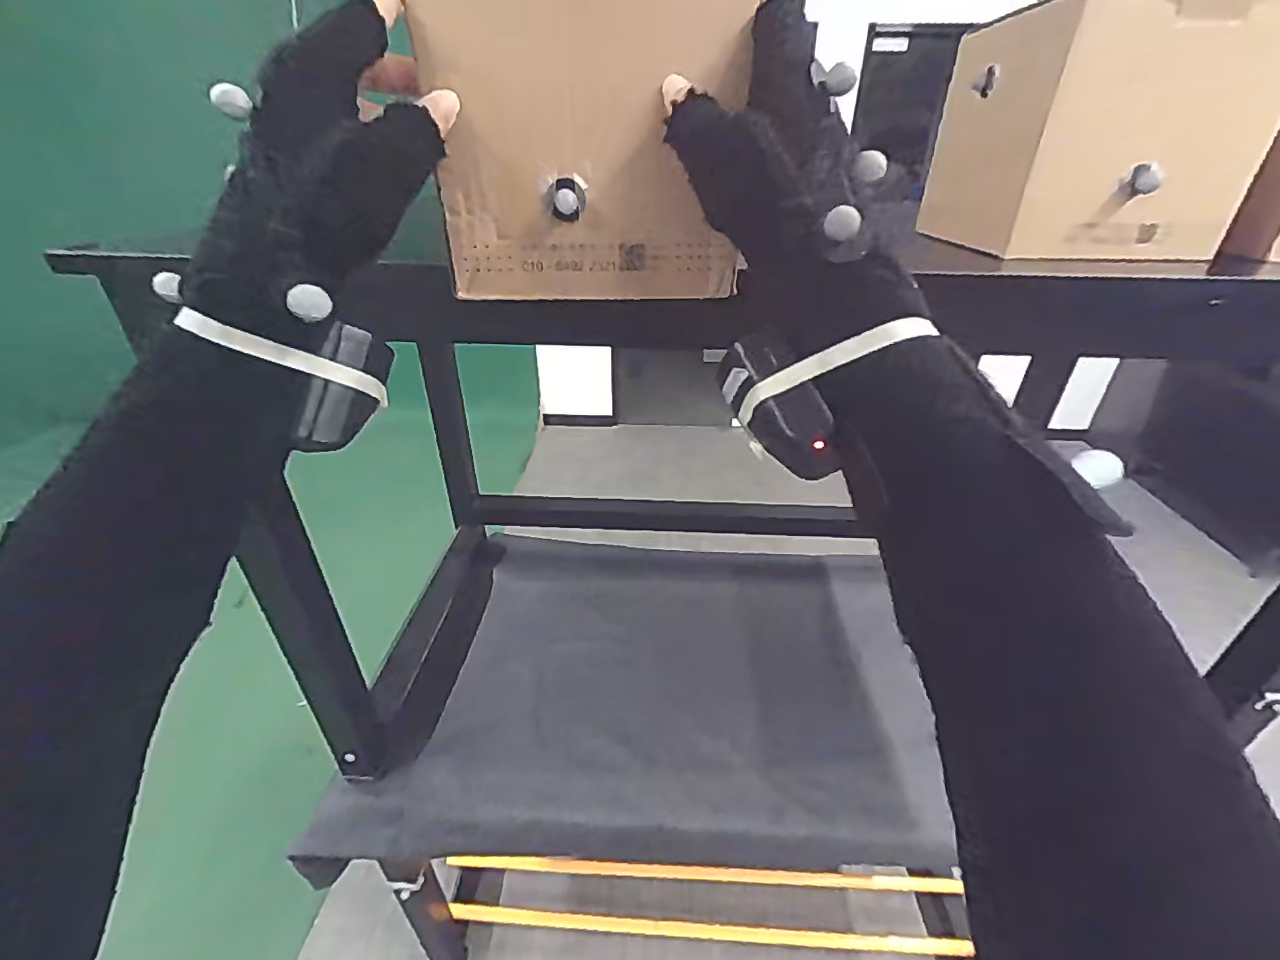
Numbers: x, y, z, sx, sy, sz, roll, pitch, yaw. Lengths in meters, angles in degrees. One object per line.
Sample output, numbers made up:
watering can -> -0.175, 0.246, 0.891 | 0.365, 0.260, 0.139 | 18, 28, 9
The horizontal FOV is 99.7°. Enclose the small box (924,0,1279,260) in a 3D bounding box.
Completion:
small box -> 0.372, -0.292, 0.459 | 0.168, 0.176, 0.179 | 1, 31, 2

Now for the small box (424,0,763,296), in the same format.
small box -> -0.028, -0.228, 0.350 | 0.168, 0.176, 0.179 | -2, 34, -3
